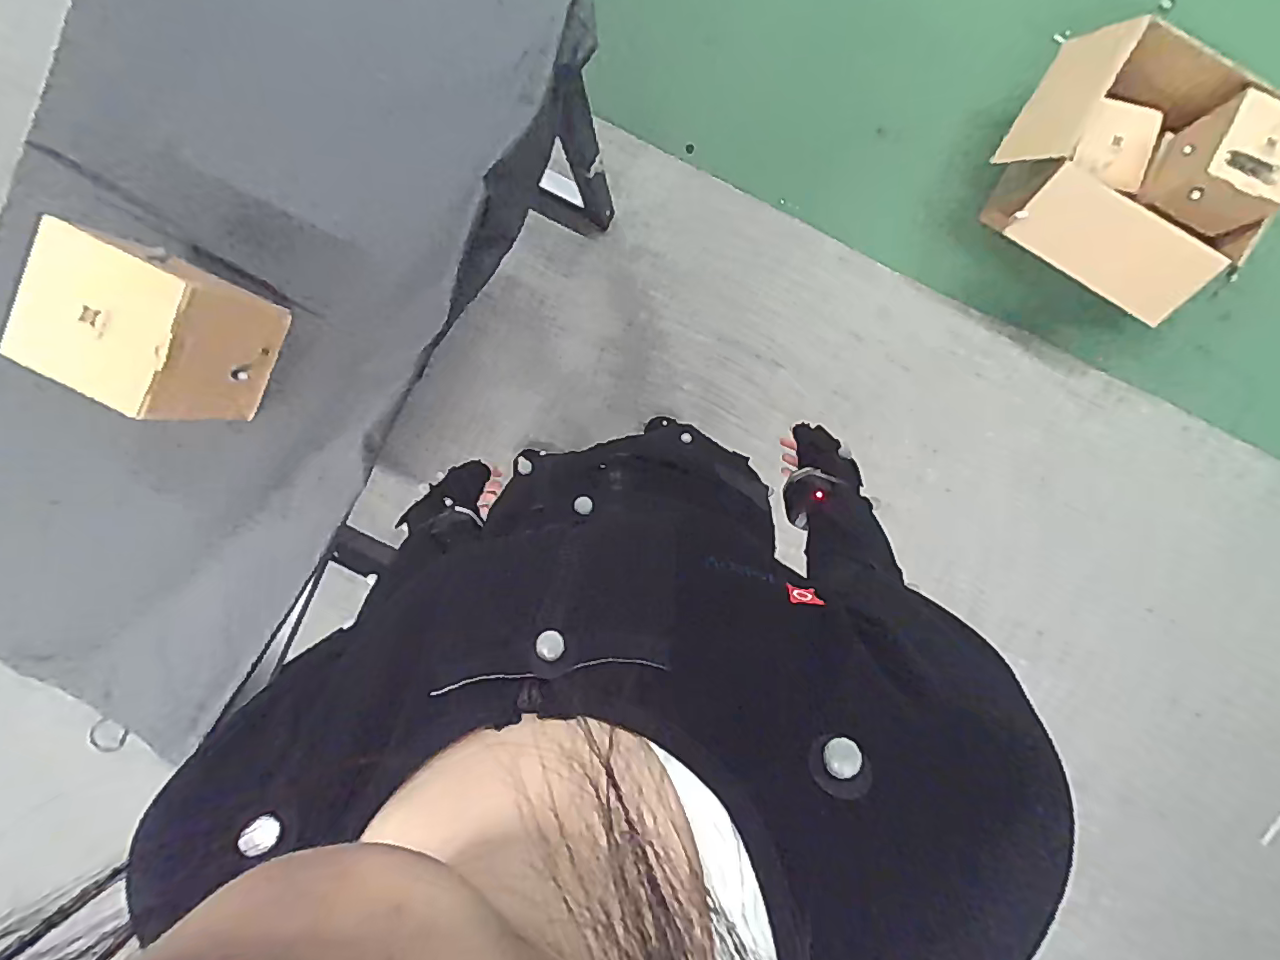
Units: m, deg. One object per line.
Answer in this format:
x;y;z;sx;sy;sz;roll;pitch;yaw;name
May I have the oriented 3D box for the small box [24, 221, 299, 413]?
-0.592;-0.190;0.693;0.179;0.176;0.168;25;96;-1;small box
